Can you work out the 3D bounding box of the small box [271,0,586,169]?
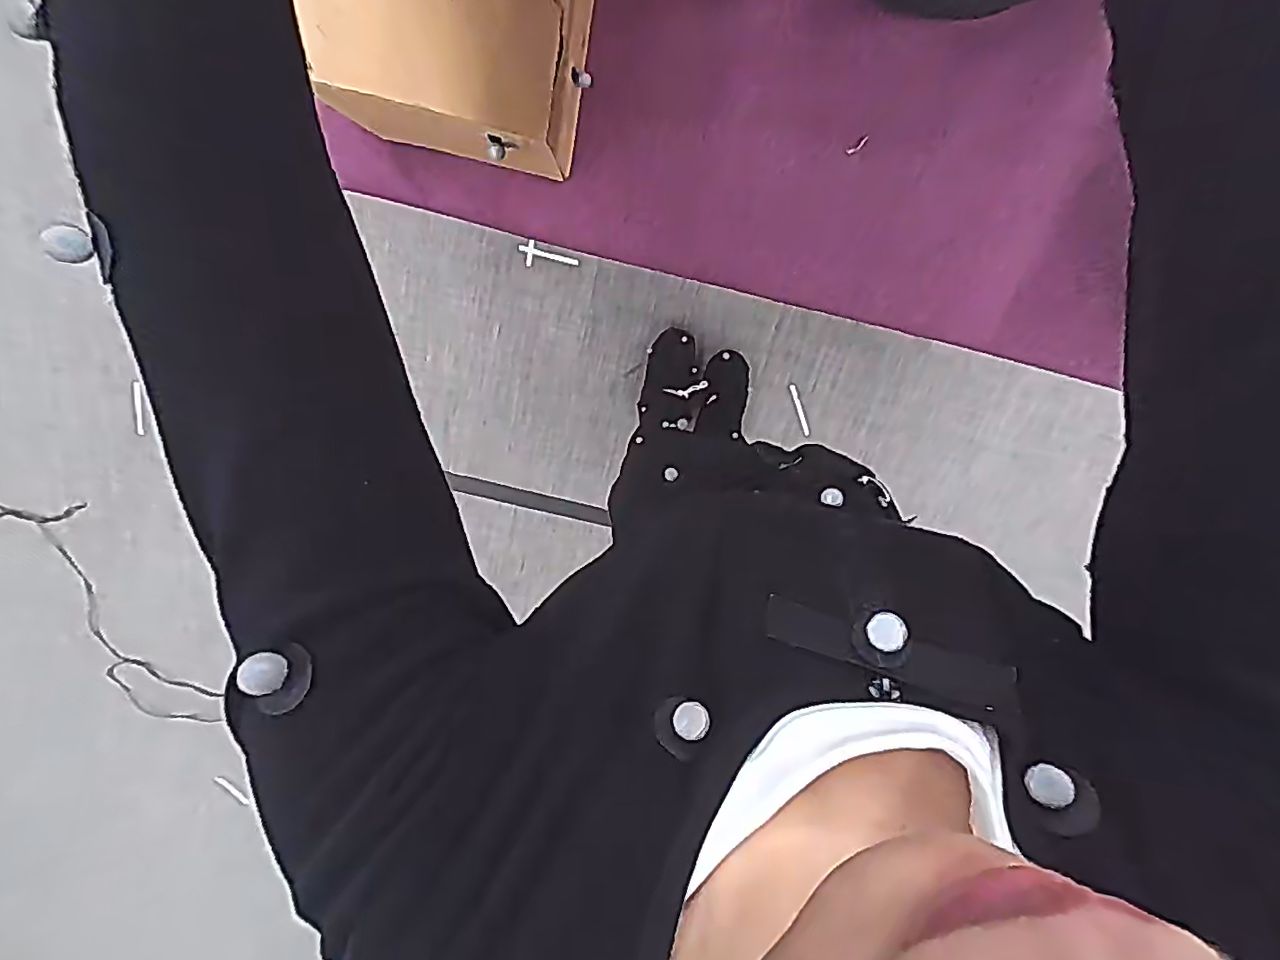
[{"bbox_3d":[-0.139,-0.351,0.404,0.179,0.176,0.168,9,111,-8],"label":"small box"}]
